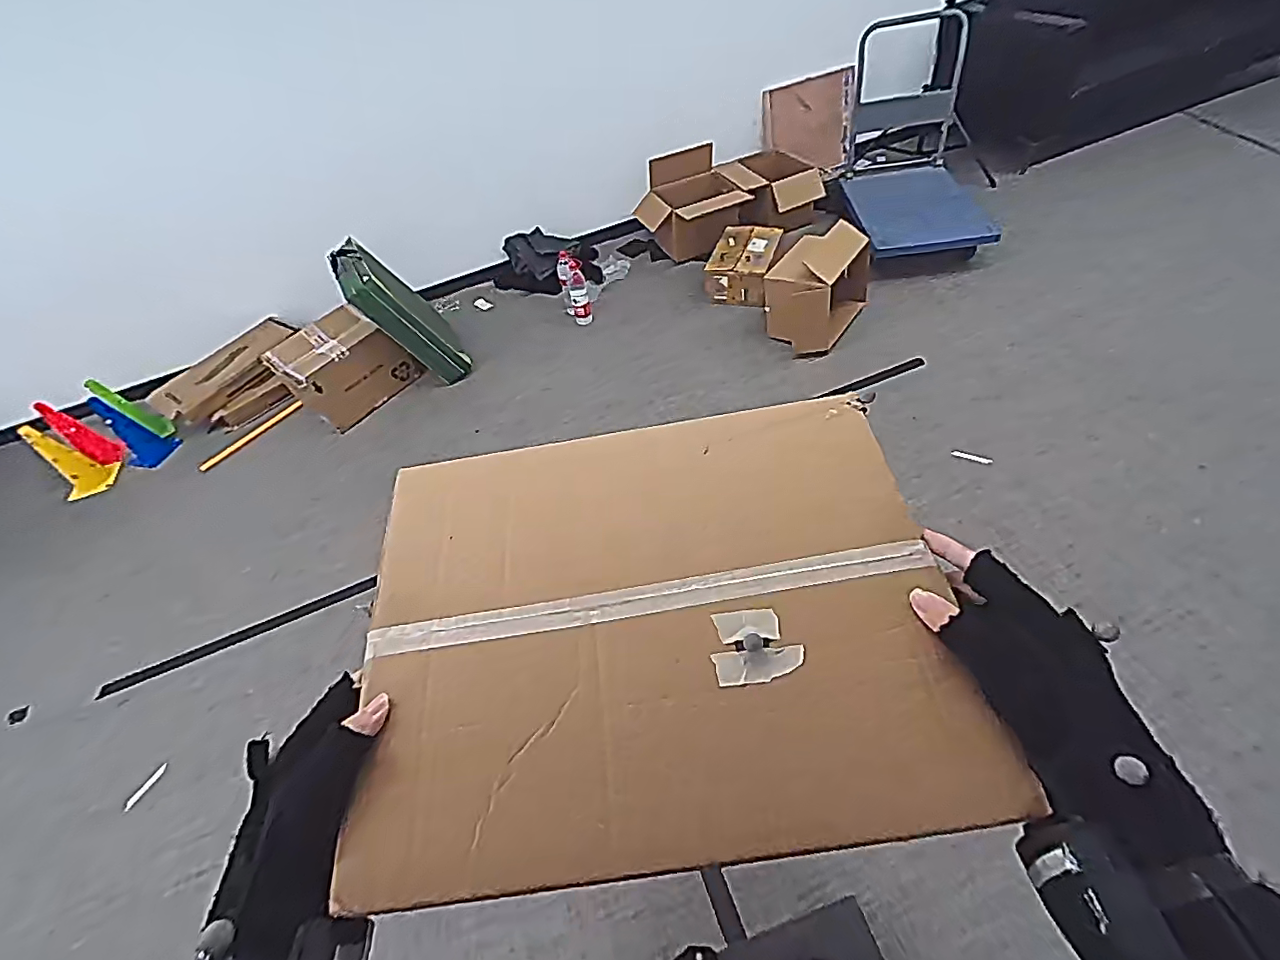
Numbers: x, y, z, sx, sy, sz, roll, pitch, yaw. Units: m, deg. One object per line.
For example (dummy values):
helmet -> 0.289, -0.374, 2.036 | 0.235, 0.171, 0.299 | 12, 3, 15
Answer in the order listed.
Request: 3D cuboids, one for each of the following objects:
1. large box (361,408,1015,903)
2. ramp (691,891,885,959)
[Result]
large box -> 0.023, 0.175, 0.524 | 0.408, 0.320, 0.320 | -9, 56, 2
ramp -> 0.372, 1.308, 0.832 | 0.509, 0.206, 0.991 | -20, 50, -7
